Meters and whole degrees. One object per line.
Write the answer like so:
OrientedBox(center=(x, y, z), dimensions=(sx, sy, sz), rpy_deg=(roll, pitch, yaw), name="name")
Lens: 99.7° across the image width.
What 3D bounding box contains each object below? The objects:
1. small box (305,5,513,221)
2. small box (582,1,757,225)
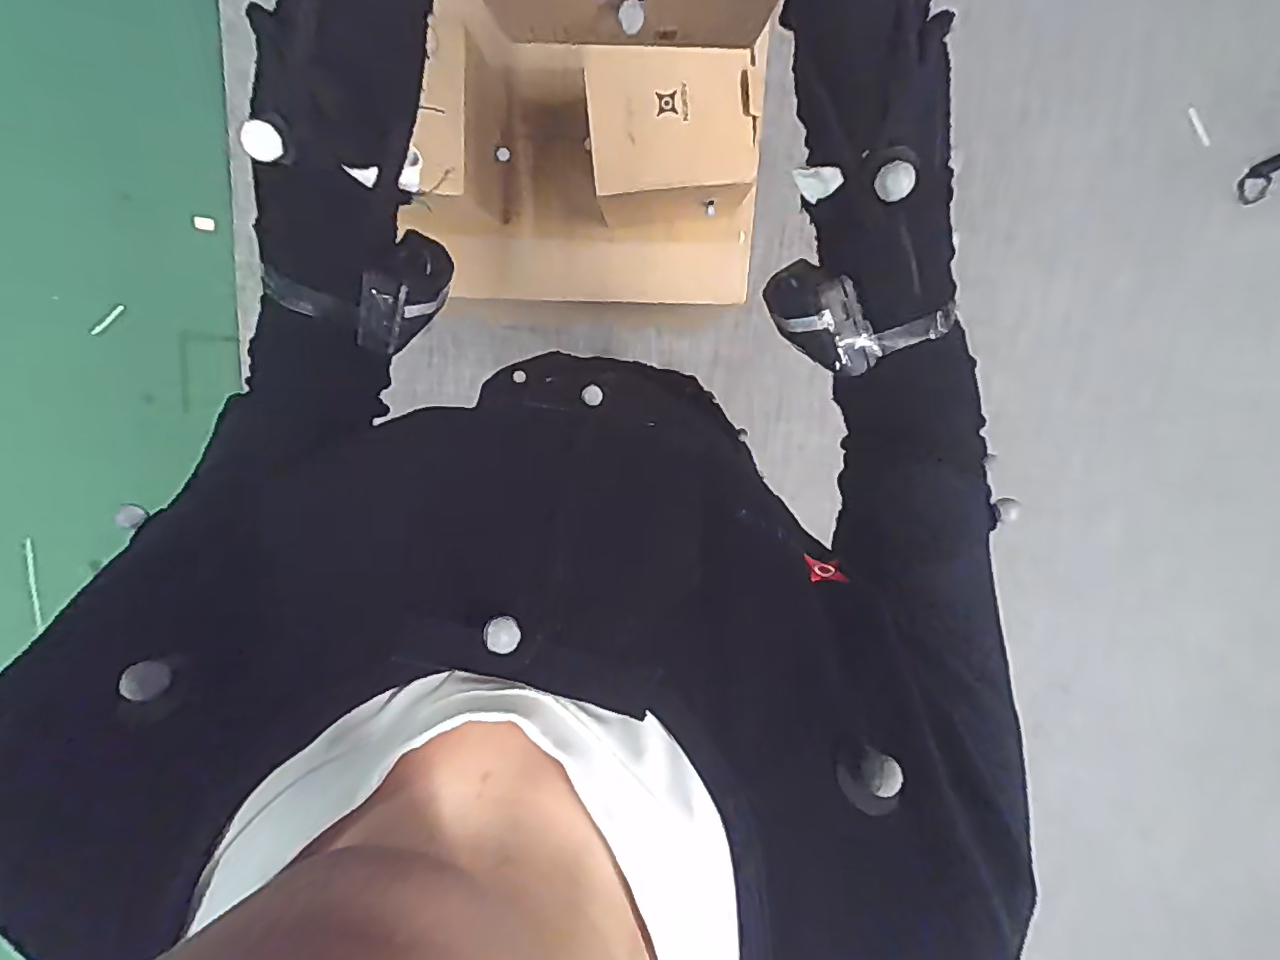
OrientedBox(center=(-0.264, -0.422, 0.651), dimensions=(0.179, 0.176, 0.168), rpy_deg=(6, 105, 0), name="small box")
OrientedBox(center=(0.036, -0.415, 0.643), dimensions=(0.179, 0.176, 0.168), rpy_deg=(-4, 104, 4), name="small box")
